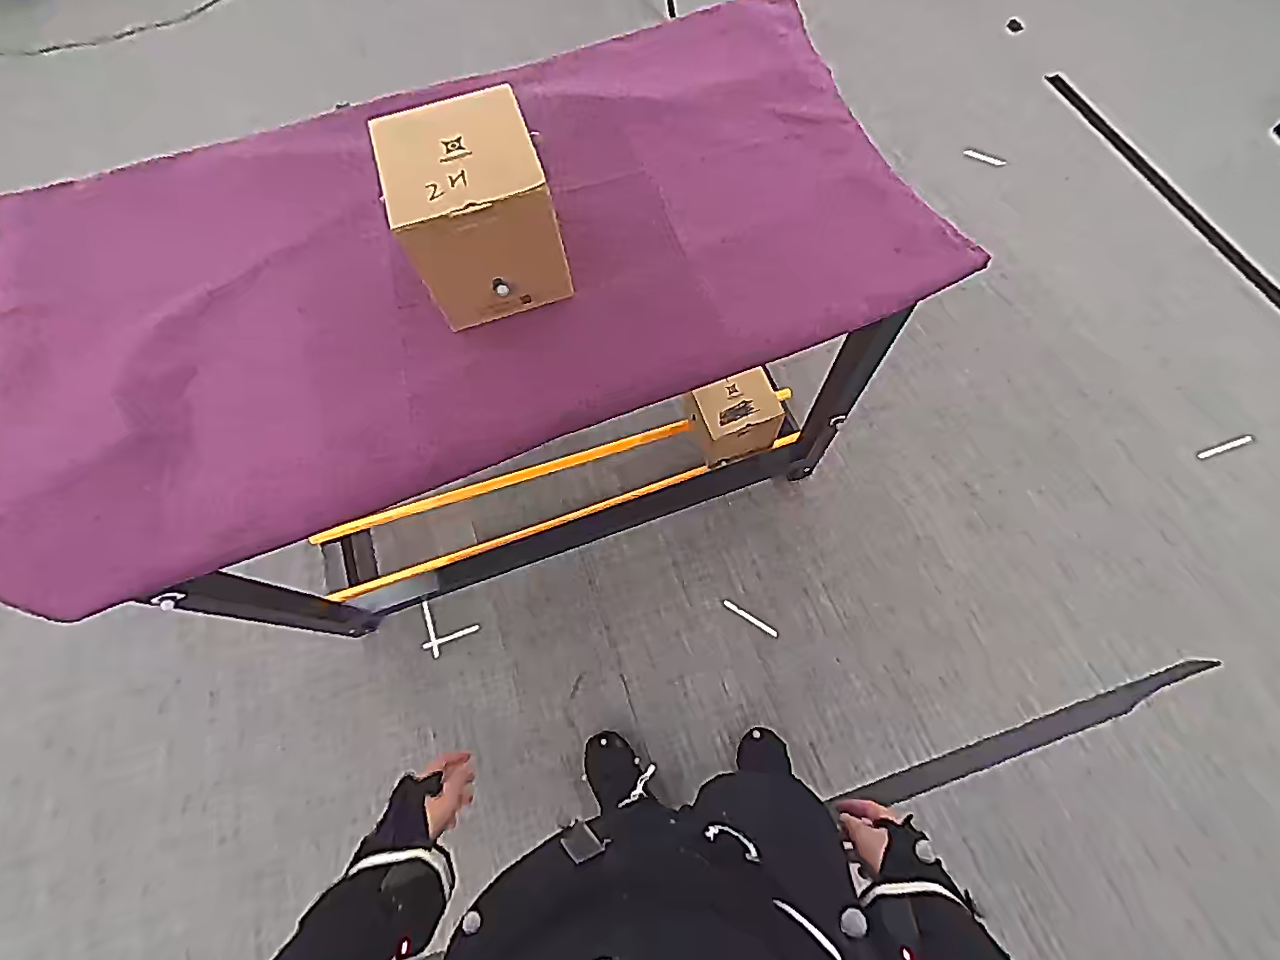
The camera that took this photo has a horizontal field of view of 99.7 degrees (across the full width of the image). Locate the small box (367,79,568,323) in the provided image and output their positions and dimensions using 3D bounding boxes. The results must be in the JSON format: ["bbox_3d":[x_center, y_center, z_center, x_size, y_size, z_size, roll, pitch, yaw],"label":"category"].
[{"bbox_3d":[-0.196,-0.323,0.646,0.168,0.176,0.179,-18,69,-4],"label":"small box"}]

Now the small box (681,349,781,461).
[{"bbox_3d":[0.199,-0.158,1.221,0.168,0.176,0.179,-19,68,-4],"label":"small box"}]
